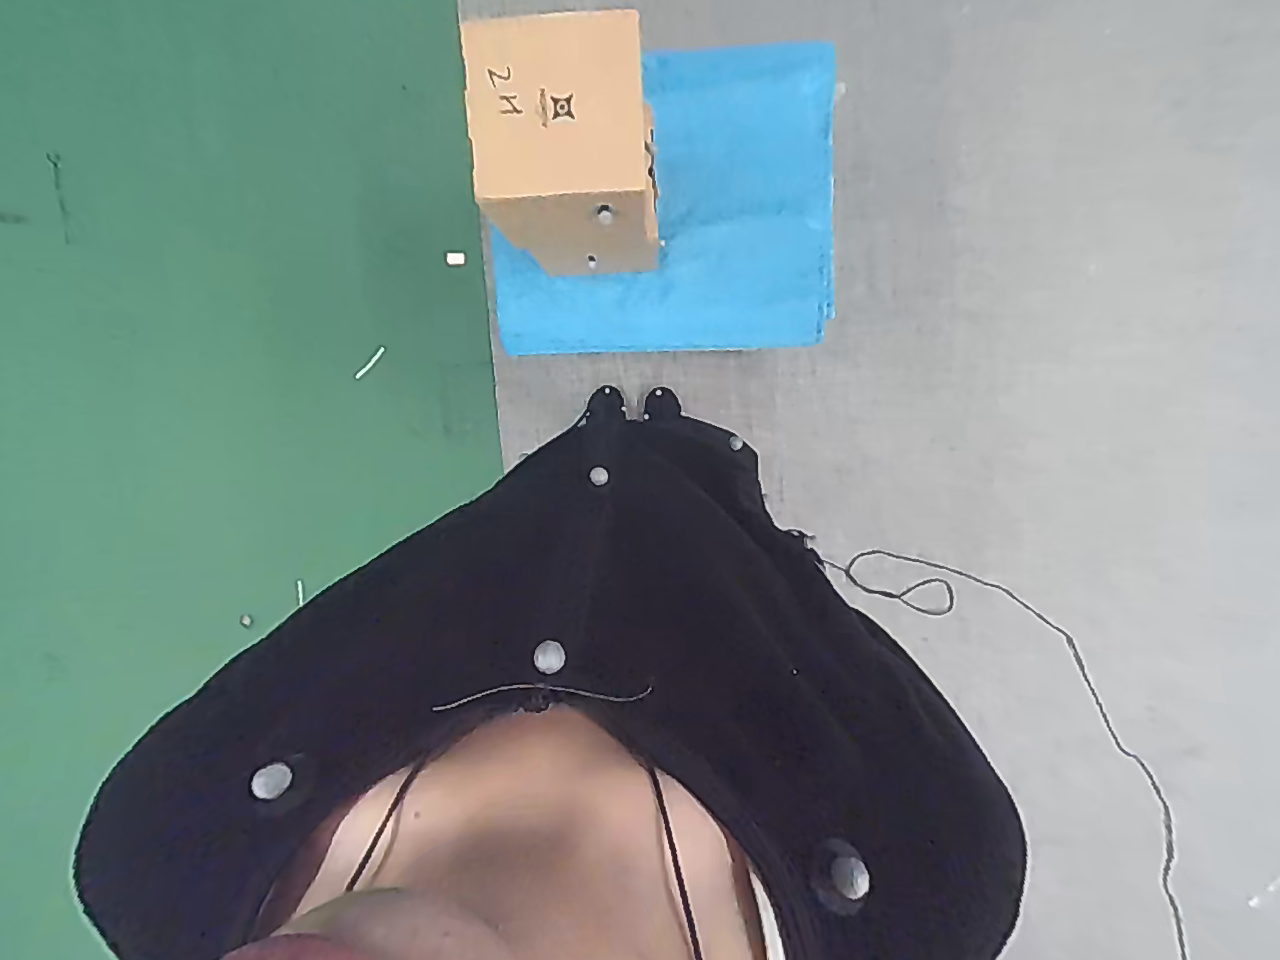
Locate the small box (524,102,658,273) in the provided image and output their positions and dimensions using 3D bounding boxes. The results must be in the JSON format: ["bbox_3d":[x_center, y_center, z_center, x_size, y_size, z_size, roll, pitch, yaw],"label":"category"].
[{"bbox_3d":[-0.067,-0.398,0.763,0.179,0.176,0.168,-3,98,2],"label":"small box"}]

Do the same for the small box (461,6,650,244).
[{"bbox_3d":[-0.080,-0.373,0.600,0.179,0.176,0.168,-3,97,2],"label":"small box"}]
